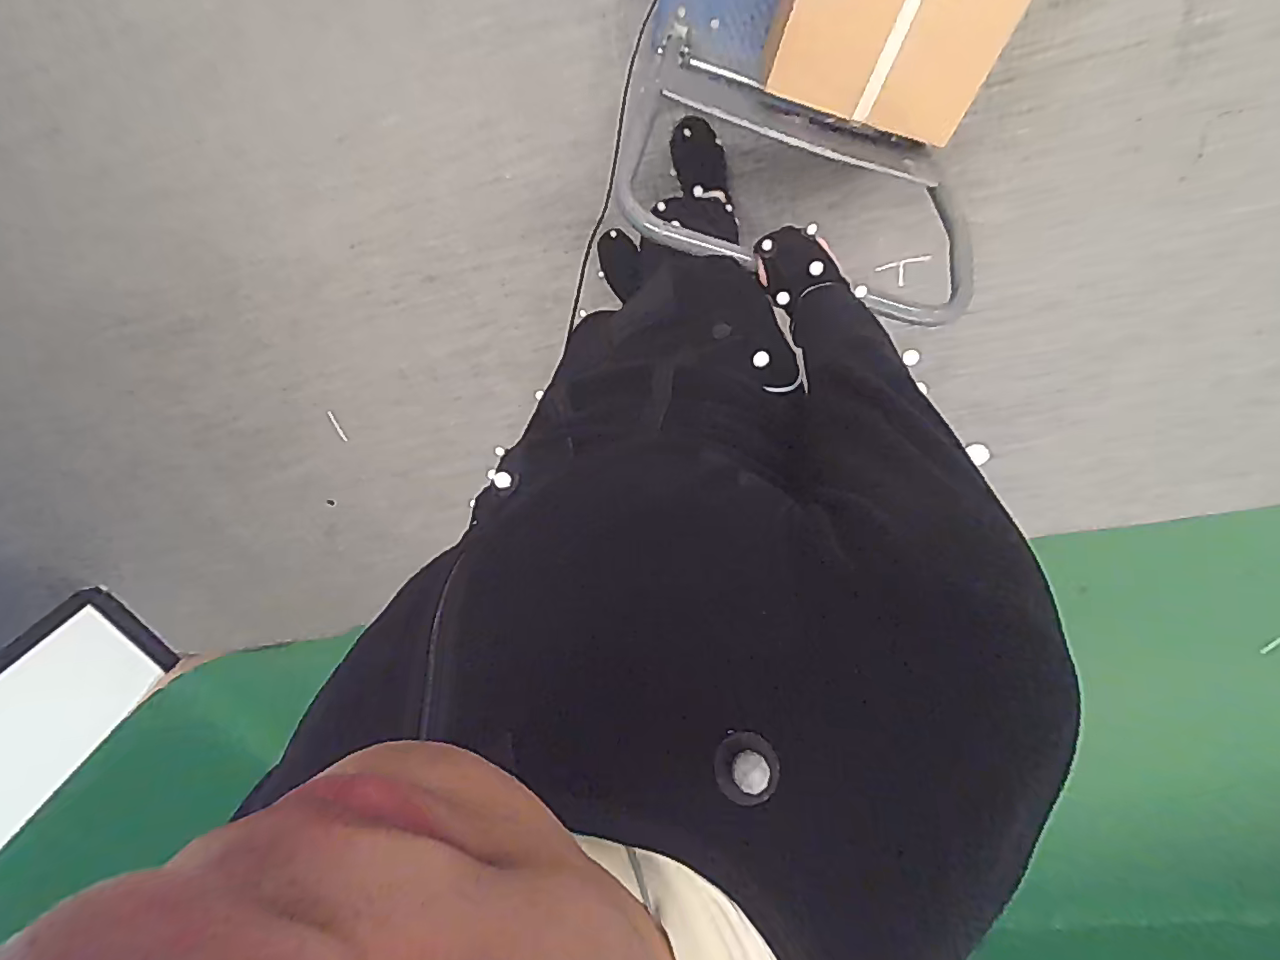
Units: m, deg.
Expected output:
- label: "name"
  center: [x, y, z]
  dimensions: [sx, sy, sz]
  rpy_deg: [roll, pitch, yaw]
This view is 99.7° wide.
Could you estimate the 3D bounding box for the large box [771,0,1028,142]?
- label: "large box"
  center: [0.419, -0.822, 0.837]
  dimensions: [0.320, 0.320, 0.408]
  rpy_deg: [14, 136, -4]
